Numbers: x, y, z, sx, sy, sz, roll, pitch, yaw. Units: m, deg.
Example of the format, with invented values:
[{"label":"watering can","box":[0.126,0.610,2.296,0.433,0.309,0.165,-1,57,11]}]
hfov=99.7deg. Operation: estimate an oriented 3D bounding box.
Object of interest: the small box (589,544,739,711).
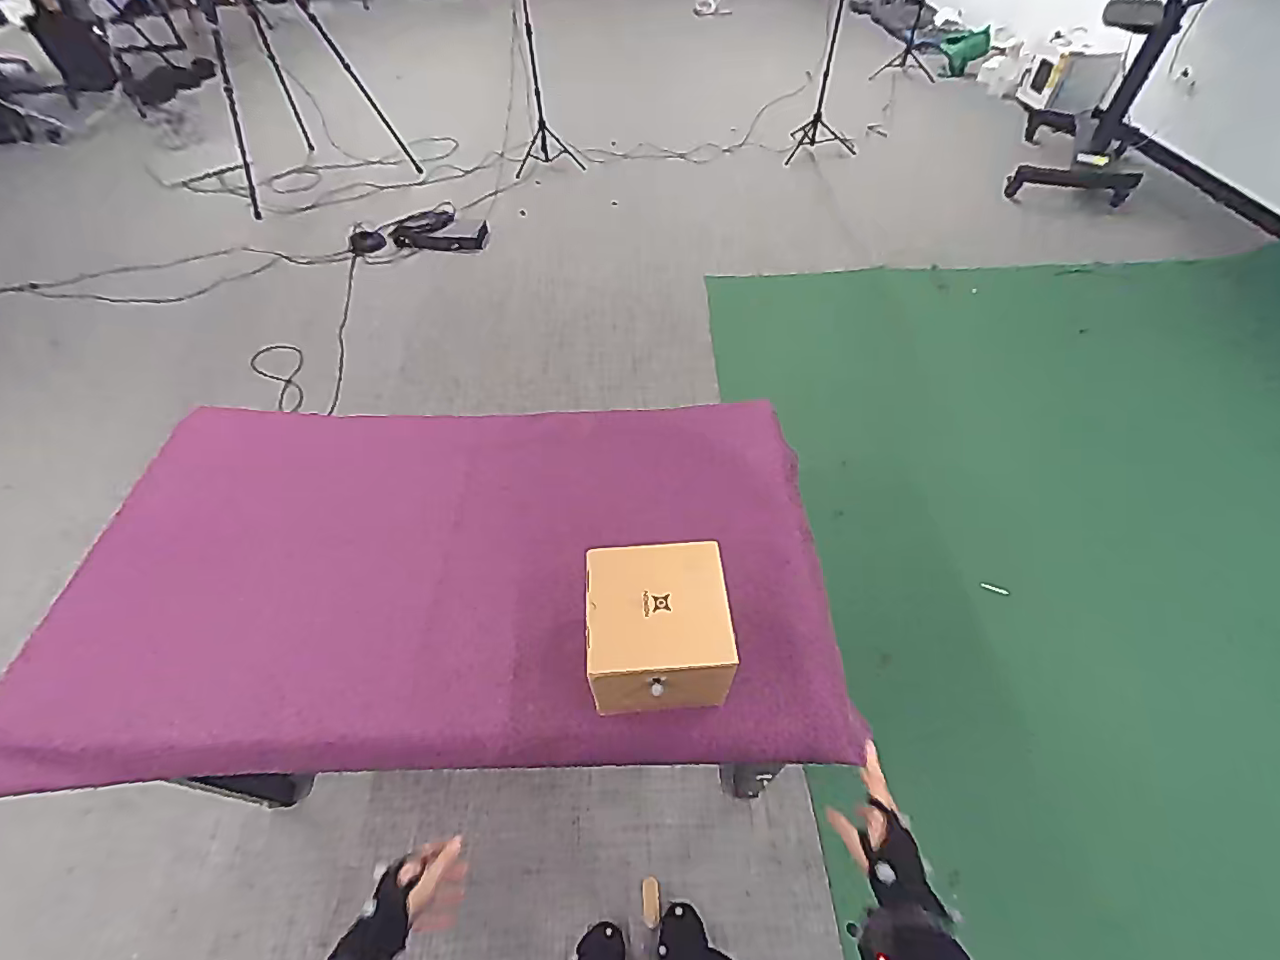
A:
[{"label":"small box","box":[0.026,0.203,0.731,0.179,0.176,0.168,-4,53,0]}]
